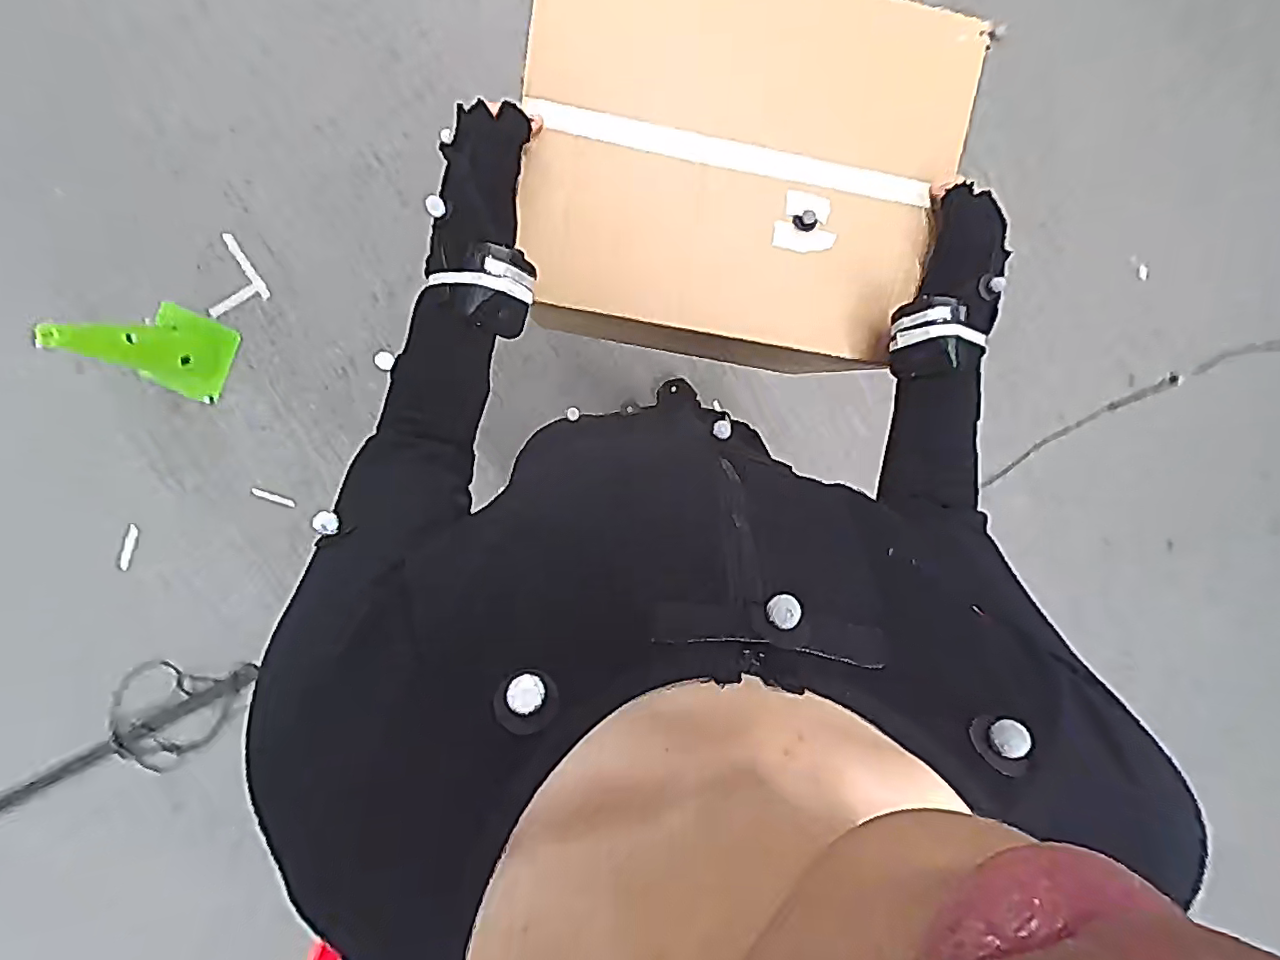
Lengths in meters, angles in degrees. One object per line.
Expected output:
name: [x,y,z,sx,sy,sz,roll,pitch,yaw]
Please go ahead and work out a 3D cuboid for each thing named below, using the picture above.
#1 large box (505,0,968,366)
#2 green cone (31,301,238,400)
large box: [0.074,-0.323,0.644,0.408,0.320,0.320,8,99,-6]
green cone: [-1.123,-0.306,1.187,0.202,0.368,0.200,24,94,-5]
